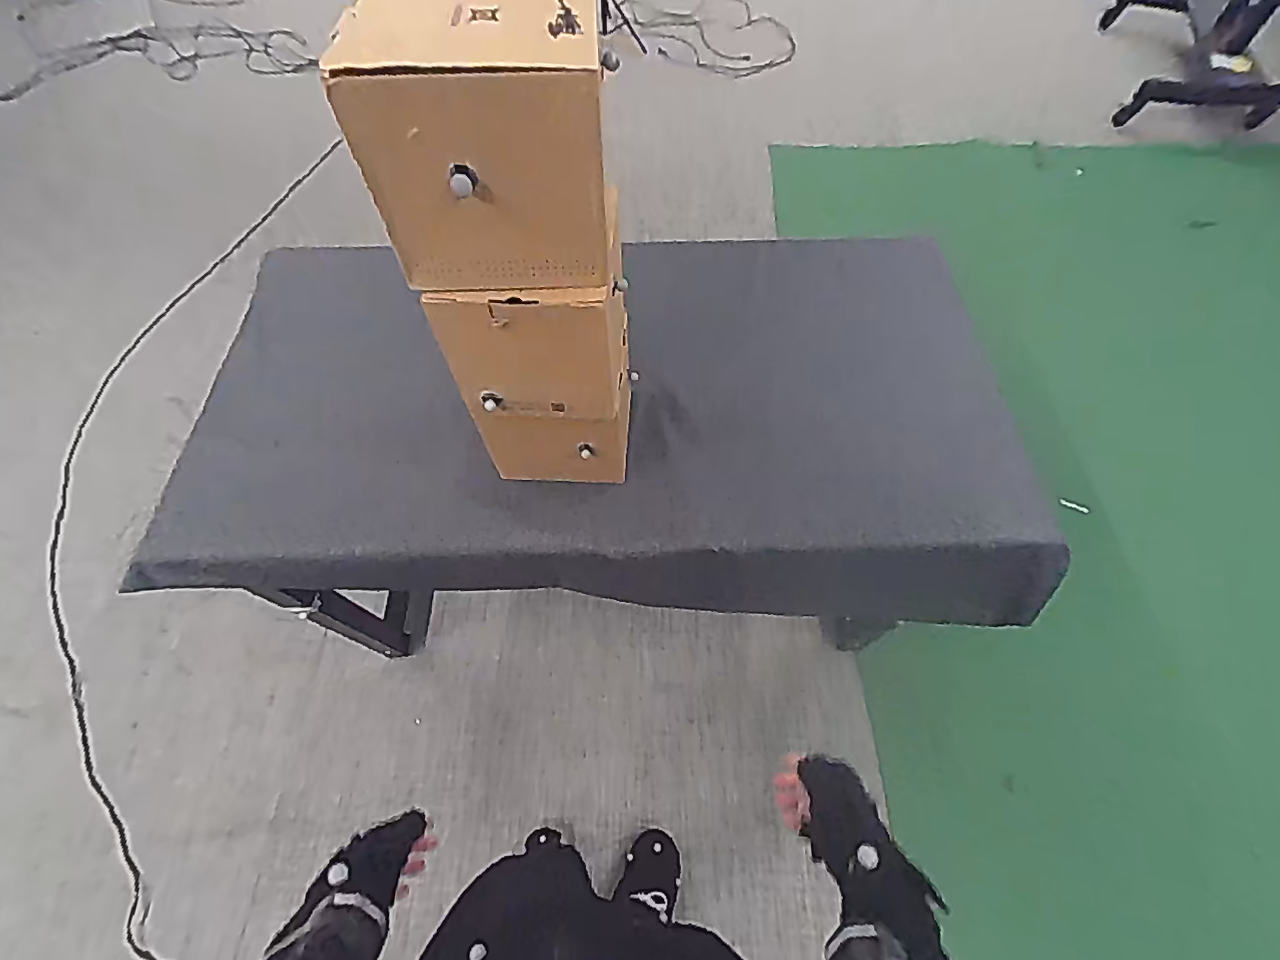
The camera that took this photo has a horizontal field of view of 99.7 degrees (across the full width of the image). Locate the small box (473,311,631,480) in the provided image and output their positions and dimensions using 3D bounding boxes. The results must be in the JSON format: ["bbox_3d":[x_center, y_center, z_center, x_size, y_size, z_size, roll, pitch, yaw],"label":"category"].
[{"bbox_3d":[-0.104,-0.110,0.736,0.179,0.176,0.168,1,60,3],"label":"small box"}]

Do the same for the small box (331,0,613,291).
[{"bbox_3d":[-0.119,-0.280,0.459,0.179,0.176,0.168,-5,58,-3],"label":"small box"}]

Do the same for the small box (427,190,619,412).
[{"bbox_3d":[-0.109,-0.187,0.591,0.168,0.176,0.179,-1,61,1],"label":"small box"}]
